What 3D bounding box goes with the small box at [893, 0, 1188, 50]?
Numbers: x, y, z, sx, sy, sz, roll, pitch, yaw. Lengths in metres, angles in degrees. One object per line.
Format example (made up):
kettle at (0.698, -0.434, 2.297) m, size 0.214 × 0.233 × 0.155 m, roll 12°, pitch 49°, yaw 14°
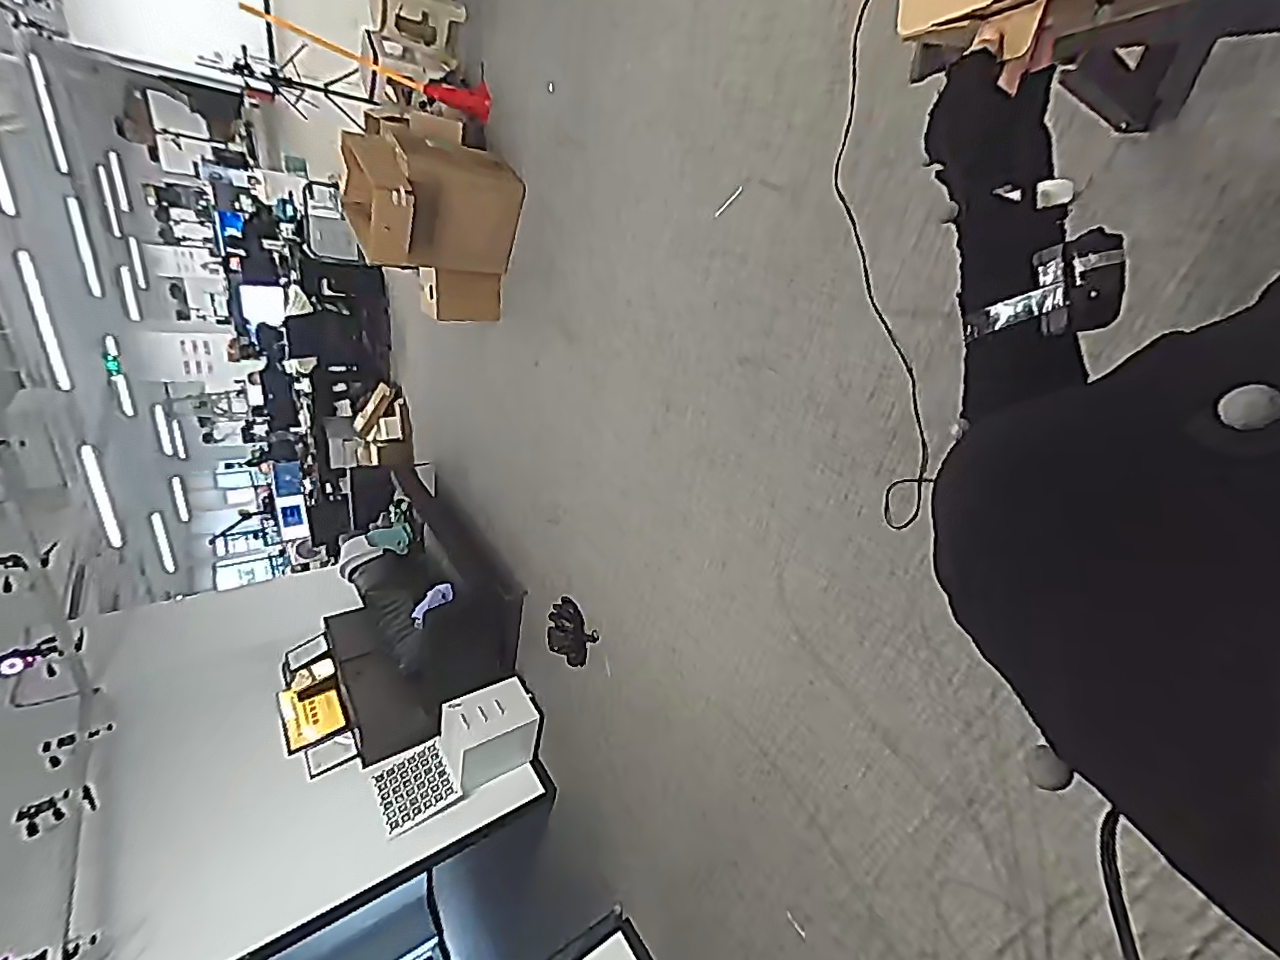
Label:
small box at (0.311, -0.434, 0.385) m, size 0.168 × 0.176 × 0.179 m, roll 29°, pitch 132°, yaw 50°
